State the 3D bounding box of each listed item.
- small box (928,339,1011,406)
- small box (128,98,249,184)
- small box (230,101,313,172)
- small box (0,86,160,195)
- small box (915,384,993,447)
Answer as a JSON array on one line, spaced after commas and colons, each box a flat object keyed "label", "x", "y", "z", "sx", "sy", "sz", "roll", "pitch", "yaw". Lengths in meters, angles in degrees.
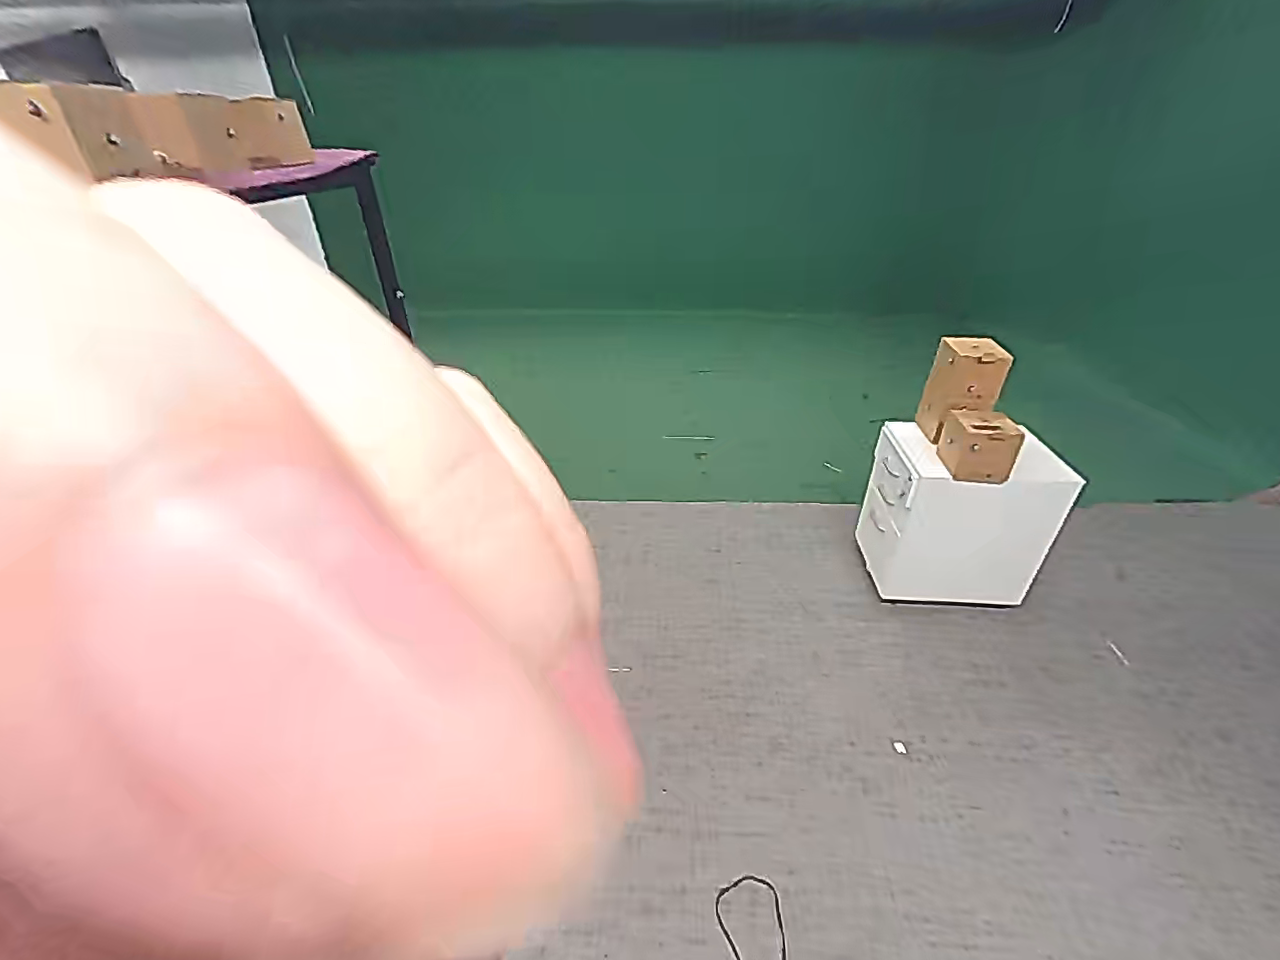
[{"label": "small box", "x": 1.121, "y": -0.370, "z": 1.857, "sx": 0.168, "sy": 0.176, "sz": 0.179, "roll": 3, "pitch": 36, "yaw": 4}, {"label": "small box", "x": -1.114, "y": -0.837, "z": 1.336, "sx": 0.168, "sy": 0.176, "sz": 0.179, "roll": -1, "pitch": 34, "yaw": 1}, {"label": "small box", "x": -1.127, "y": -1.030, "z": 1.626, "sx": 0.168, "sy": 0.176, "sz": 0.179, "roll": -1, "pitch": 33, "yaw": 4}, {"label": "small box", "x": -1.116, "y": -0.665, "z": 1.064, "sx": 0.179, "sy": 0.176, "sz": 0.168, "roll": 0, "pitch": 32, "yaw": 1}, {"label": "small box", "x": 1.120, "y": -0.234, "z": 1.948, "sx": 0.168, "sy": 0.176, "sz": 0.179, "roll": 1, "pitch": 34, "yaw": 3}]
